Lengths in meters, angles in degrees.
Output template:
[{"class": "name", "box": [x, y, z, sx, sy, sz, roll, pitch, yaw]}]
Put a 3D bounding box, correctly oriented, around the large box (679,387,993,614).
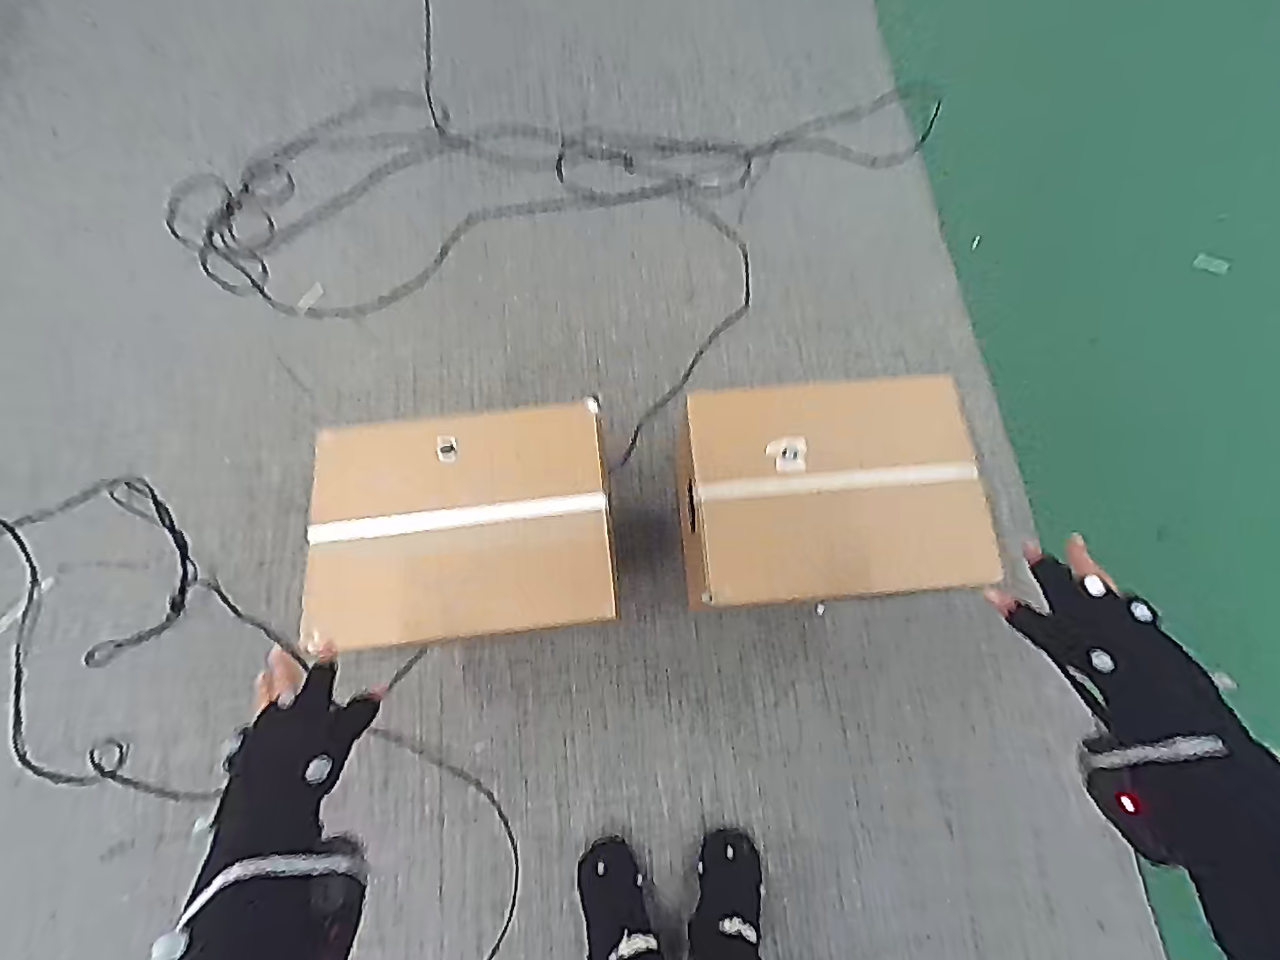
[{"class": "large box", "box": [0.289, 0.058, 0.934, 0.408, 0.320, 0.320, -4, 73, -1]}]
